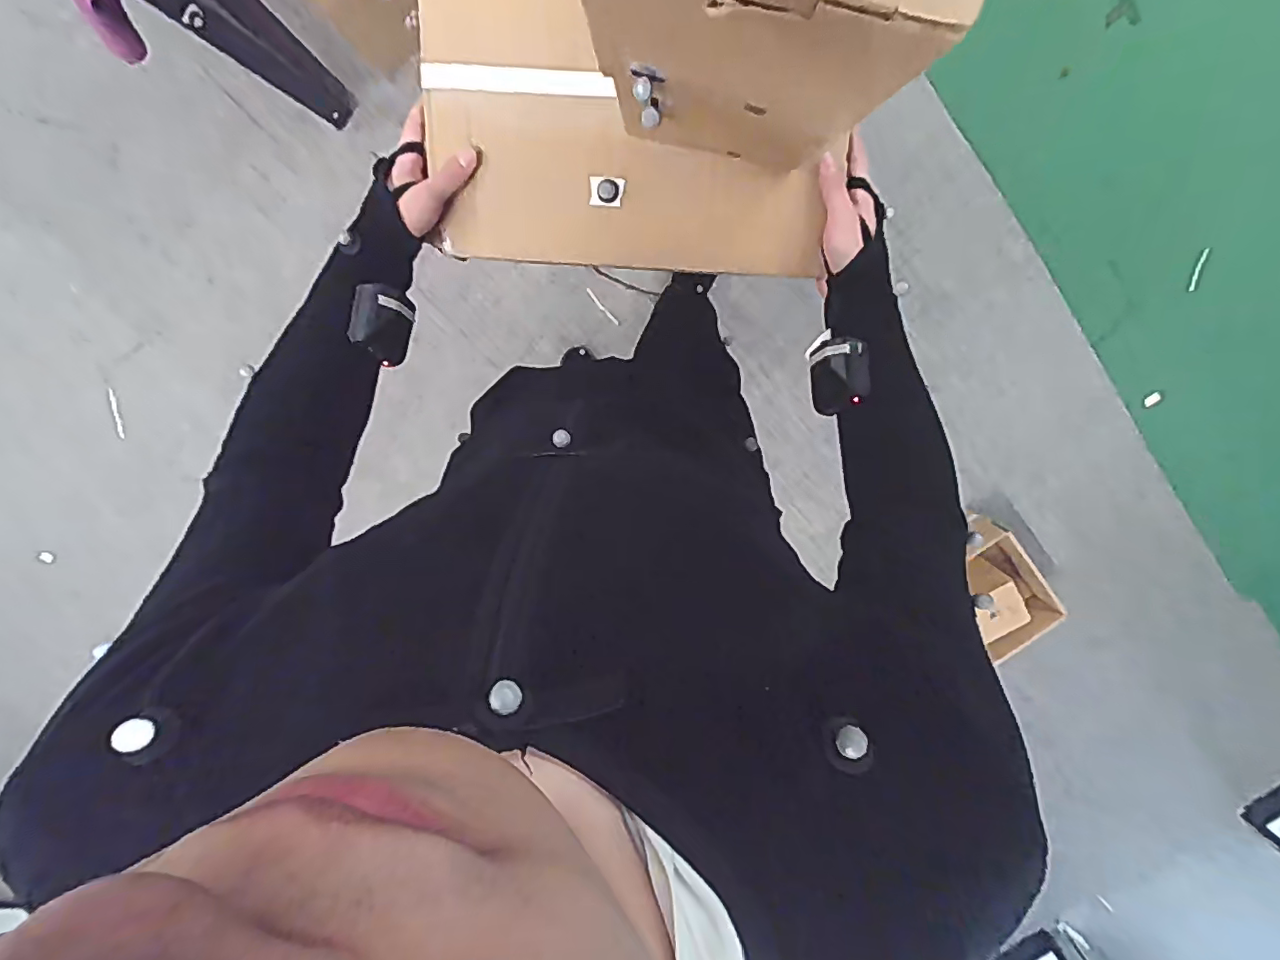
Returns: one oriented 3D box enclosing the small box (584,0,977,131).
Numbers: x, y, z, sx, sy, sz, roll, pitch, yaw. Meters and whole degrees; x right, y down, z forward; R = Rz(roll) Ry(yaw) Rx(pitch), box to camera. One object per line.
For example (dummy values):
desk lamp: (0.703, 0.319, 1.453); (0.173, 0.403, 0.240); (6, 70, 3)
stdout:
small box: (0.069, -0.293, 0.249); (0.168, 0.176, 0.179); (13, 109, -3)

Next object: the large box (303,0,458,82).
large box: (-0.628, -1.152, 1.101); (0.320, 0.320, 0.408); (-42, 103, 9)
